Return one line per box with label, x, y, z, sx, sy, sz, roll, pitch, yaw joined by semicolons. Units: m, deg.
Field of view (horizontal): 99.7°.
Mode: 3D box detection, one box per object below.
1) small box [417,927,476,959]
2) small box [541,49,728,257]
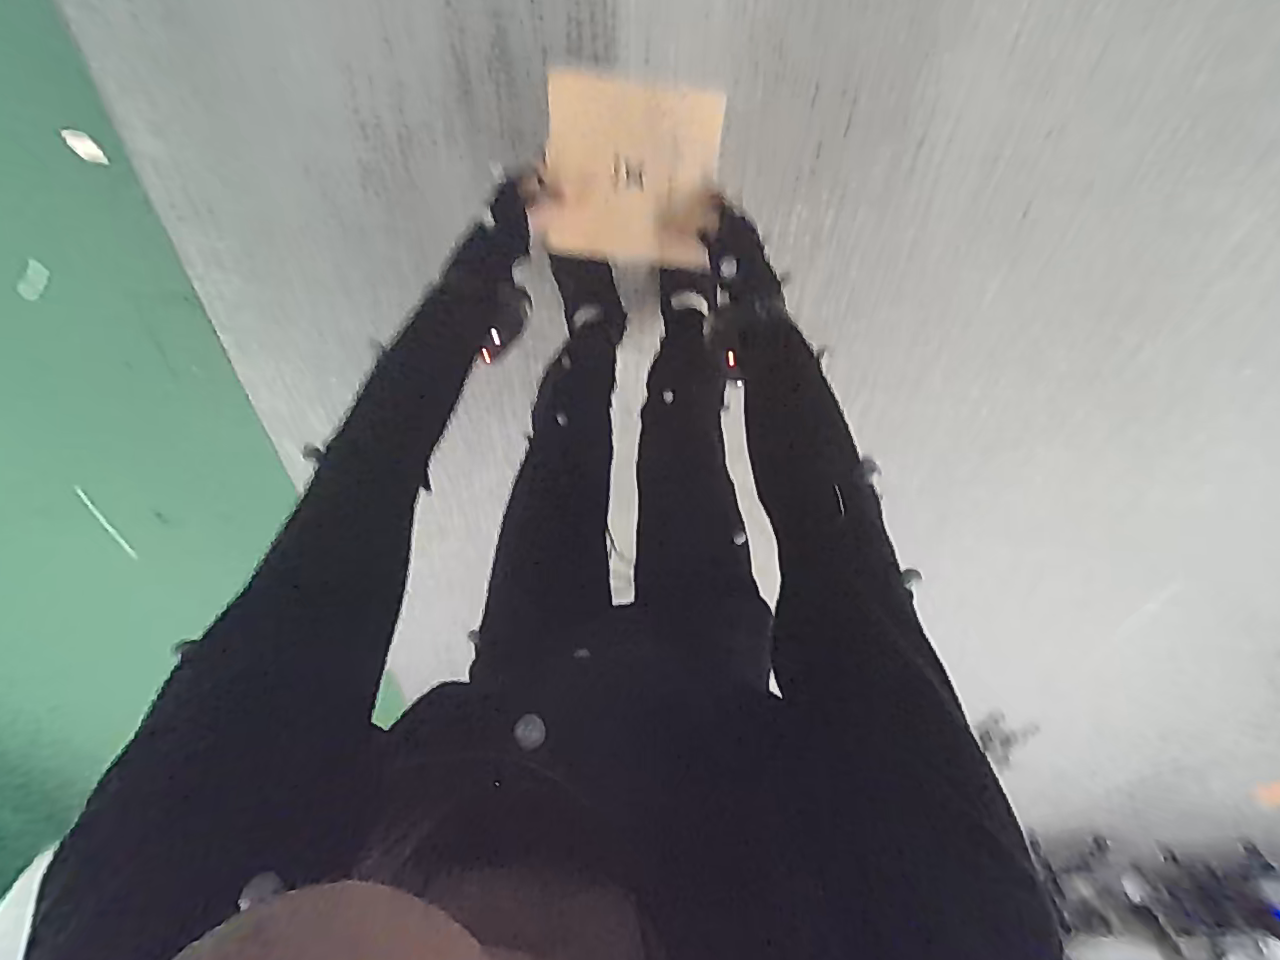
small box;-0.670;1.645;1.843;0.179;0.176;0.168;11;133;-8
small box;-0.011;-0.369;0.615;0.179;0.176;0.168;6;126;-4
